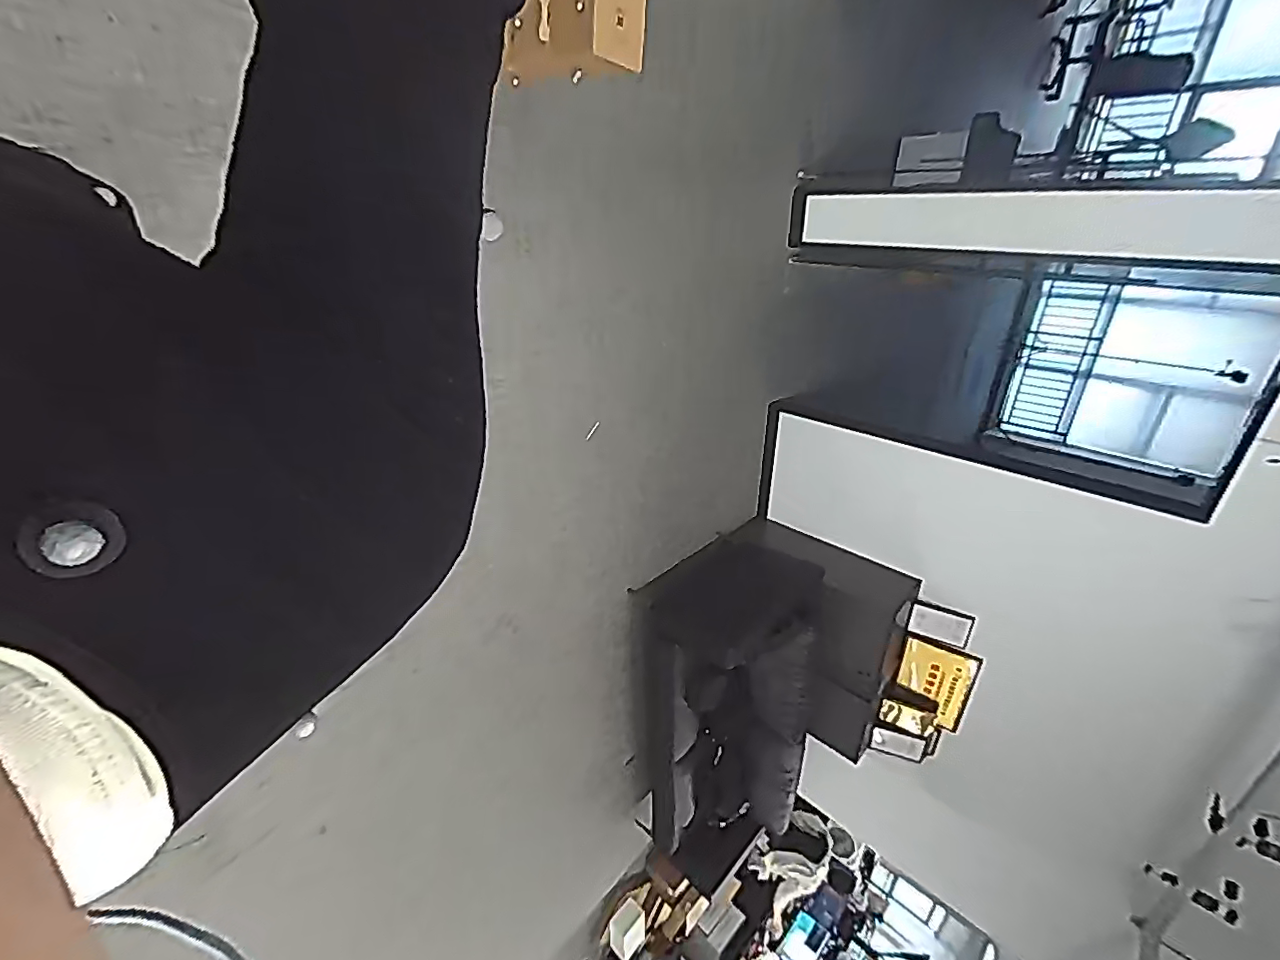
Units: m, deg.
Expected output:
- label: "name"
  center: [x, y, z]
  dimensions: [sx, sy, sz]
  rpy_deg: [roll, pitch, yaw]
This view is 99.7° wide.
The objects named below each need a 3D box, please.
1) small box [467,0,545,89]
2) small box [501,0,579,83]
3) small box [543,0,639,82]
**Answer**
- label: "small box"
  center: [-0.370, -1.217, 1.513]
  dimensions: [0.179, 0.176, 0.168]
  rpy_deg: [-22, 125, -42]
- label: "small box"
  center: [-0.242, -1.169, 1.420]
  dimensions: [0.179, 0.176, 0.168]
  rpy_deg: [-18, 121, -45]
- label: "small box"
  center: [-0.123, -1.112, 1.324]
  dimensions: [0.168, 0.176, 0.179]
  rpy_deg: [-18, 121, -44]
